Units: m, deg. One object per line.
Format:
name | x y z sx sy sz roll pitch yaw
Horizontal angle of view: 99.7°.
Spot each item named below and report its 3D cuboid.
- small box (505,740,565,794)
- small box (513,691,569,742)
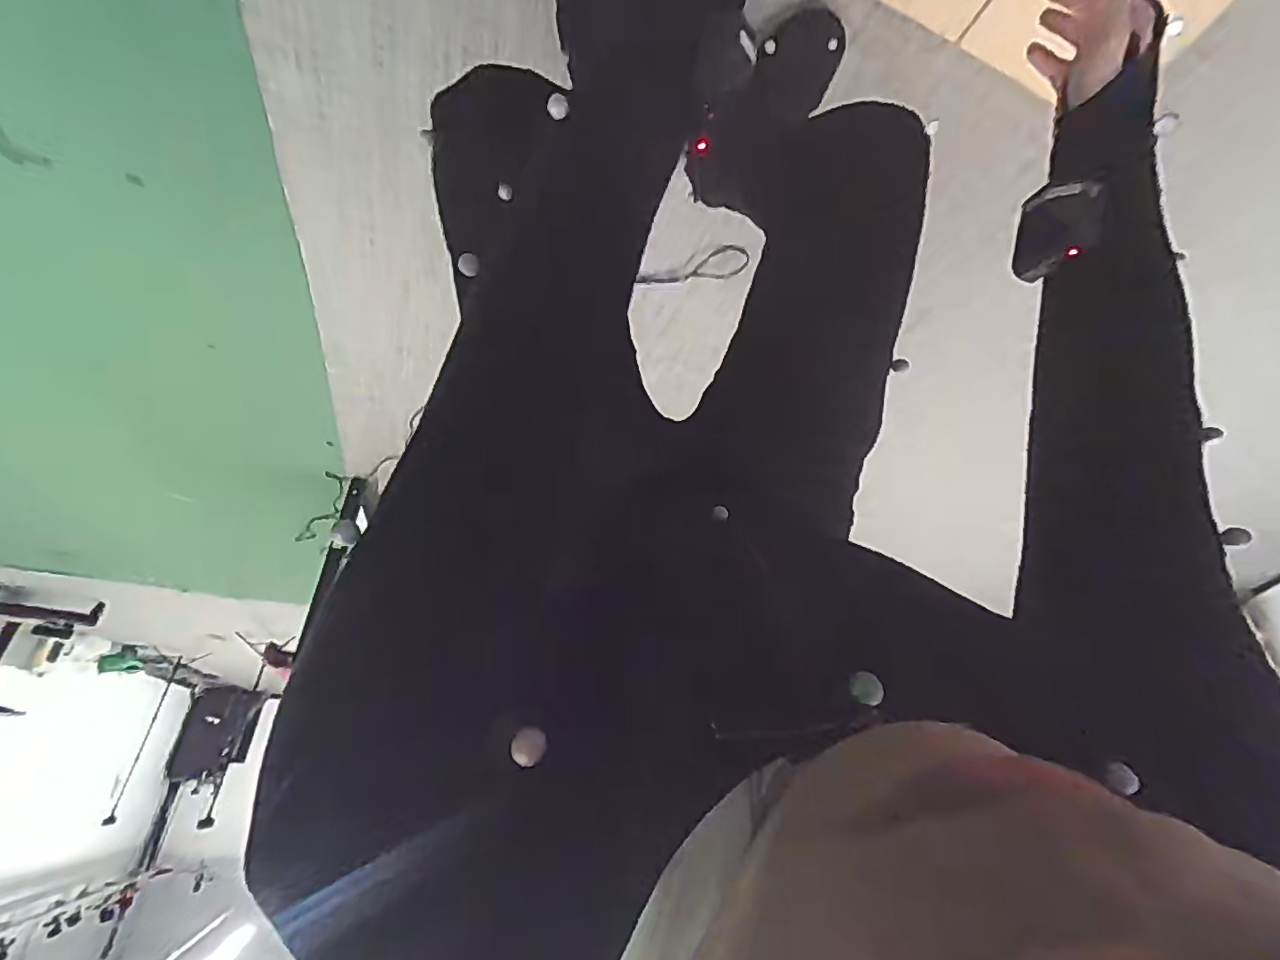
small box | -0.385 1.047 1.980 0.179 0.176 0.168 12 151 -16
small box | -0.379 0.909 2.071 0.179 0.176 0.168 10 151 -14
